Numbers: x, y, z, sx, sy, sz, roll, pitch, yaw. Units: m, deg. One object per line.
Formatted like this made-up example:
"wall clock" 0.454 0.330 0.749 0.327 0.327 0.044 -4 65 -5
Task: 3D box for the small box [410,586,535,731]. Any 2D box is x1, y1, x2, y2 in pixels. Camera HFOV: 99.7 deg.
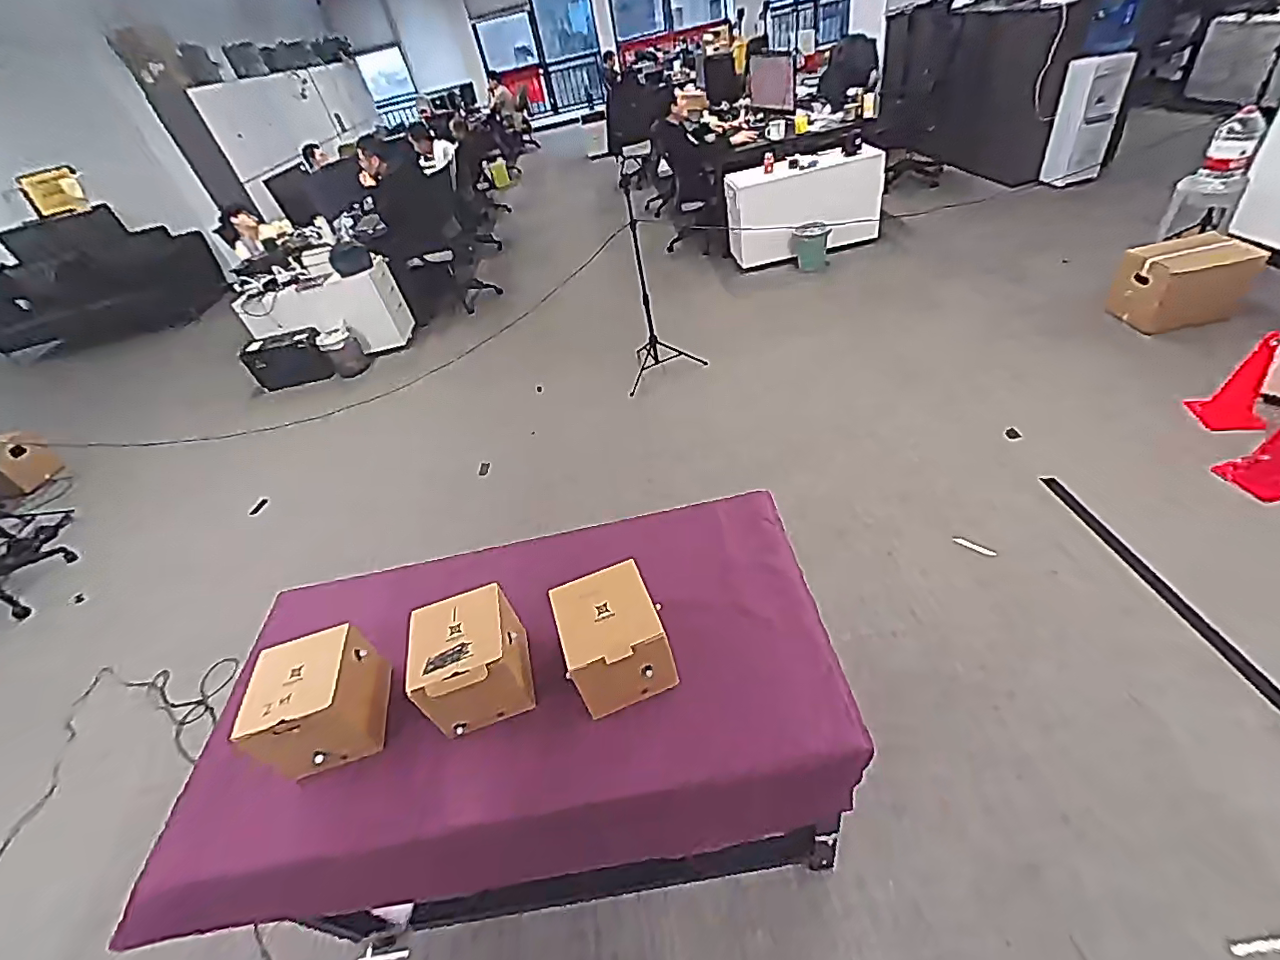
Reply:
"small box" -0.301 0.333 0.993 0.168 0.176 0.179 -18 39 -5

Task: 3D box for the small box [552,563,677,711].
"small box" -0.043 0.288 0.972 0.168 0.176 0.179 -19 40 -7

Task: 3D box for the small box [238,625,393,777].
"small box" -0.575 0.404 0.989 0.168 0.176 0.179 -17 40 -3
